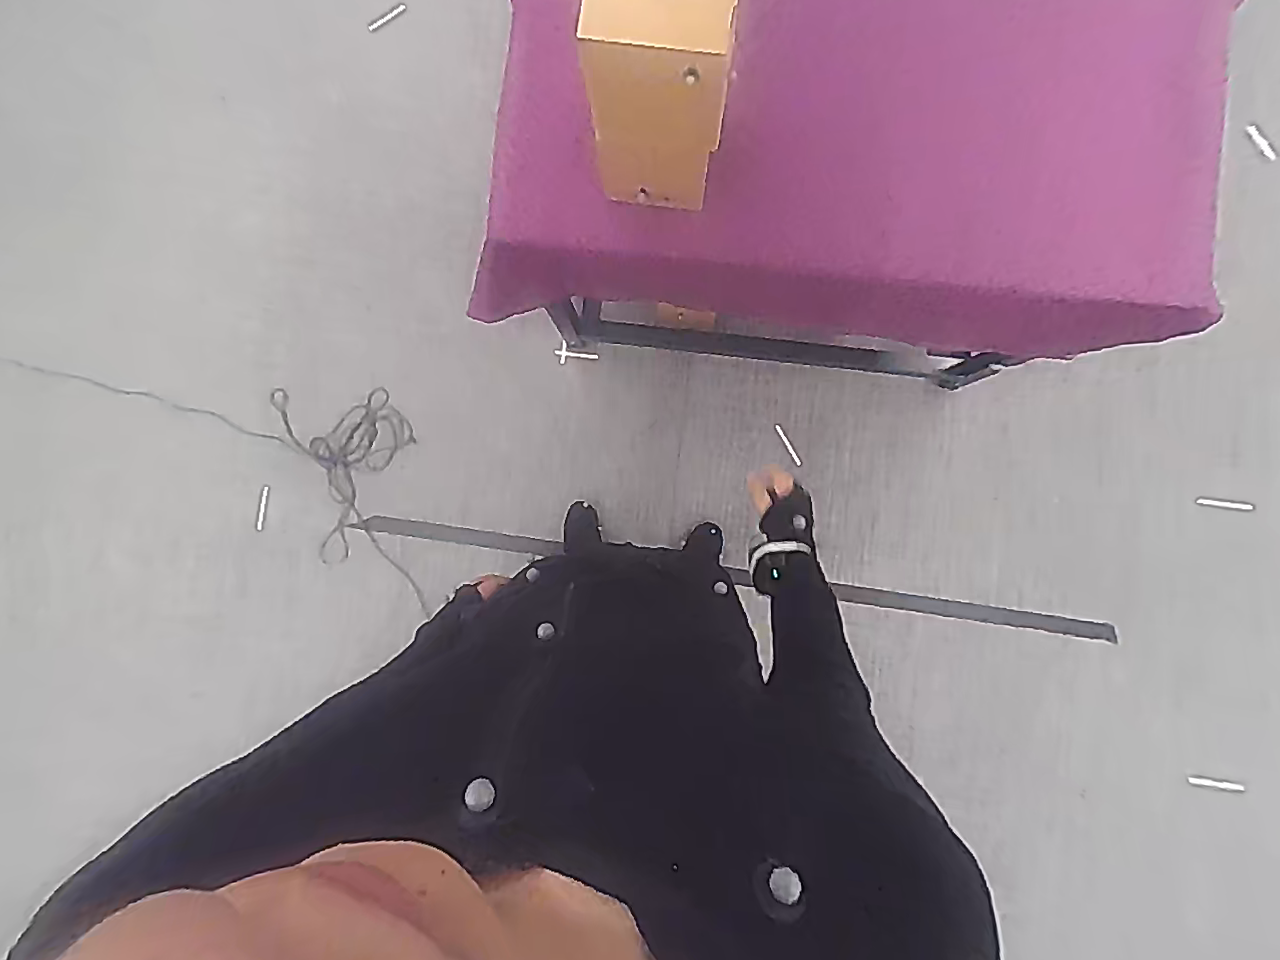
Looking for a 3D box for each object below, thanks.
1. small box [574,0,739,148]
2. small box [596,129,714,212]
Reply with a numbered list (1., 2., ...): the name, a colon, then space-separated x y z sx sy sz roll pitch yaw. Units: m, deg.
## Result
1. small box: 0.028 -0.553 0.681 0.179 0.176 0.168 9 88 3
2. small box: 0.033 -0.554 0.843 0.168 0.176 0.179 8 89 4
